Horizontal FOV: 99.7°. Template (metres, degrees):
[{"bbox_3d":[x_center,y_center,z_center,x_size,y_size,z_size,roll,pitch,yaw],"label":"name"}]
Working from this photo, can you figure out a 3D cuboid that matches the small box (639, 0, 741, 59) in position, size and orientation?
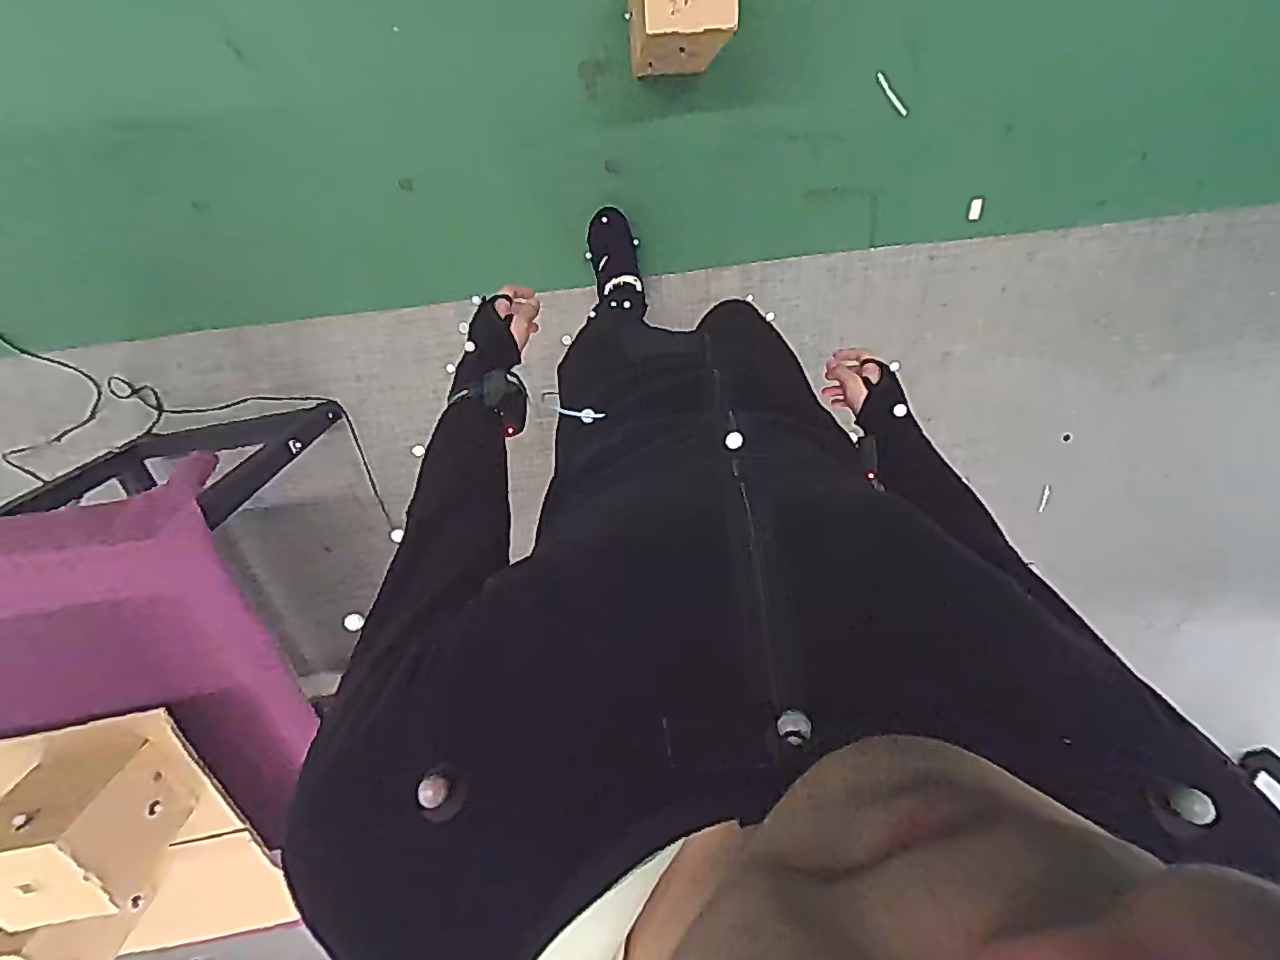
[{"bbox_3d":[0.085,-0.898,0.983,0.168,0.176,0.179,-6,117,-2],"label":"small box"}]

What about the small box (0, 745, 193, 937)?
[{"bbox_3d":[-0.850,0.538,0.821,0.179,0.176,0.168,-11,114,-1],"label":"small box"}]

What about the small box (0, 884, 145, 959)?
[{"bbox_3d":[-0.996,0.761,0.906,0.179,0.176,0.168,-10,114,1],"label":"small box"}]
